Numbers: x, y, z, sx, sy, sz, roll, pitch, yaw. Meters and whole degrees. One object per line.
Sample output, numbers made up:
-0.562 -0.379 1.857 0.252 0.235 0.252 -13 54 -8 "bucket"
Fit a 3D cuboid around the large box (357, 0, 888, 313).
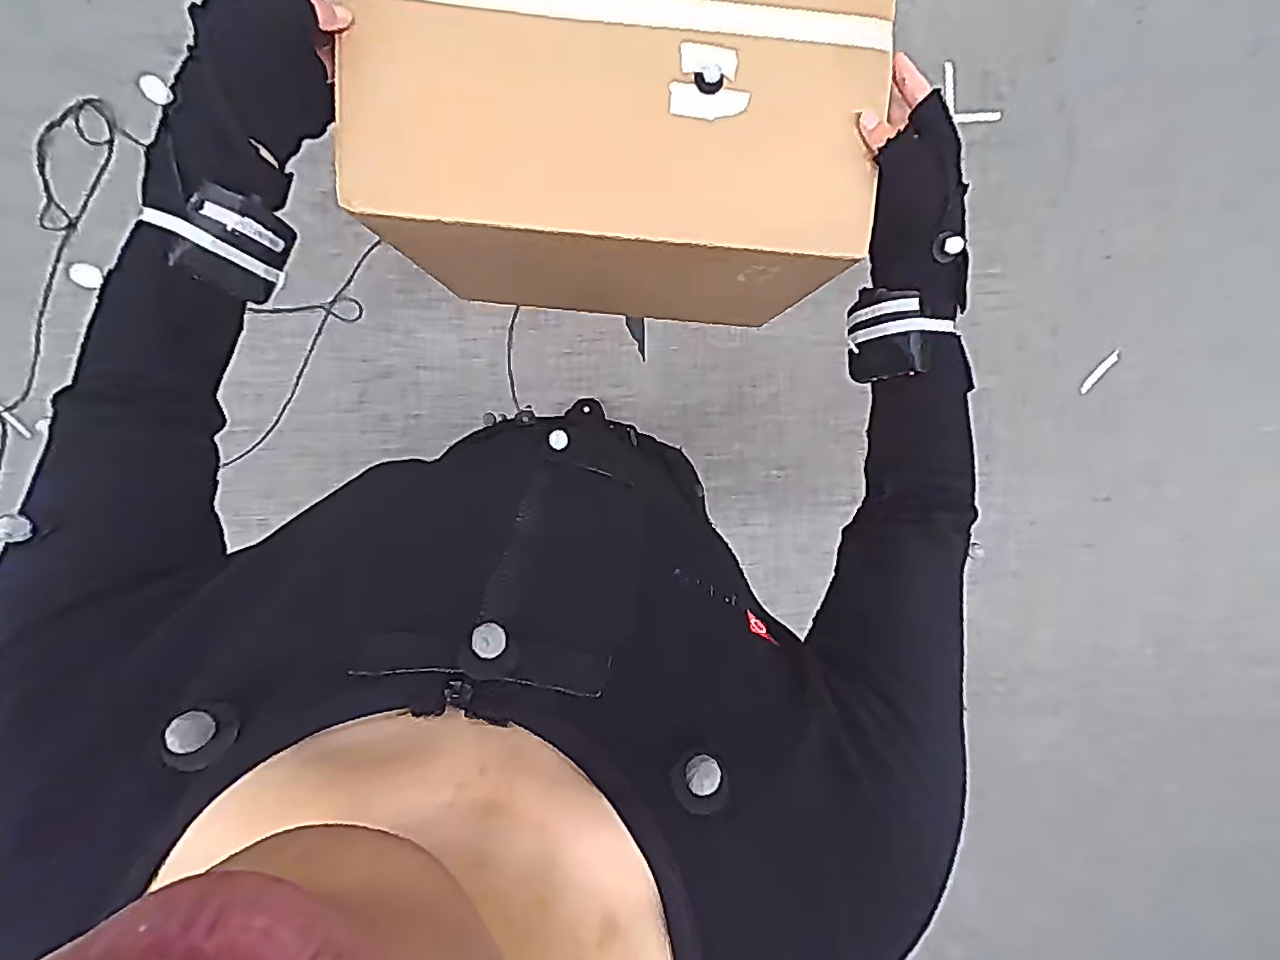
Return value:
-0.018 -0.369 0.555 0.408 0.320 0.320 4 97 -4 "large box"
